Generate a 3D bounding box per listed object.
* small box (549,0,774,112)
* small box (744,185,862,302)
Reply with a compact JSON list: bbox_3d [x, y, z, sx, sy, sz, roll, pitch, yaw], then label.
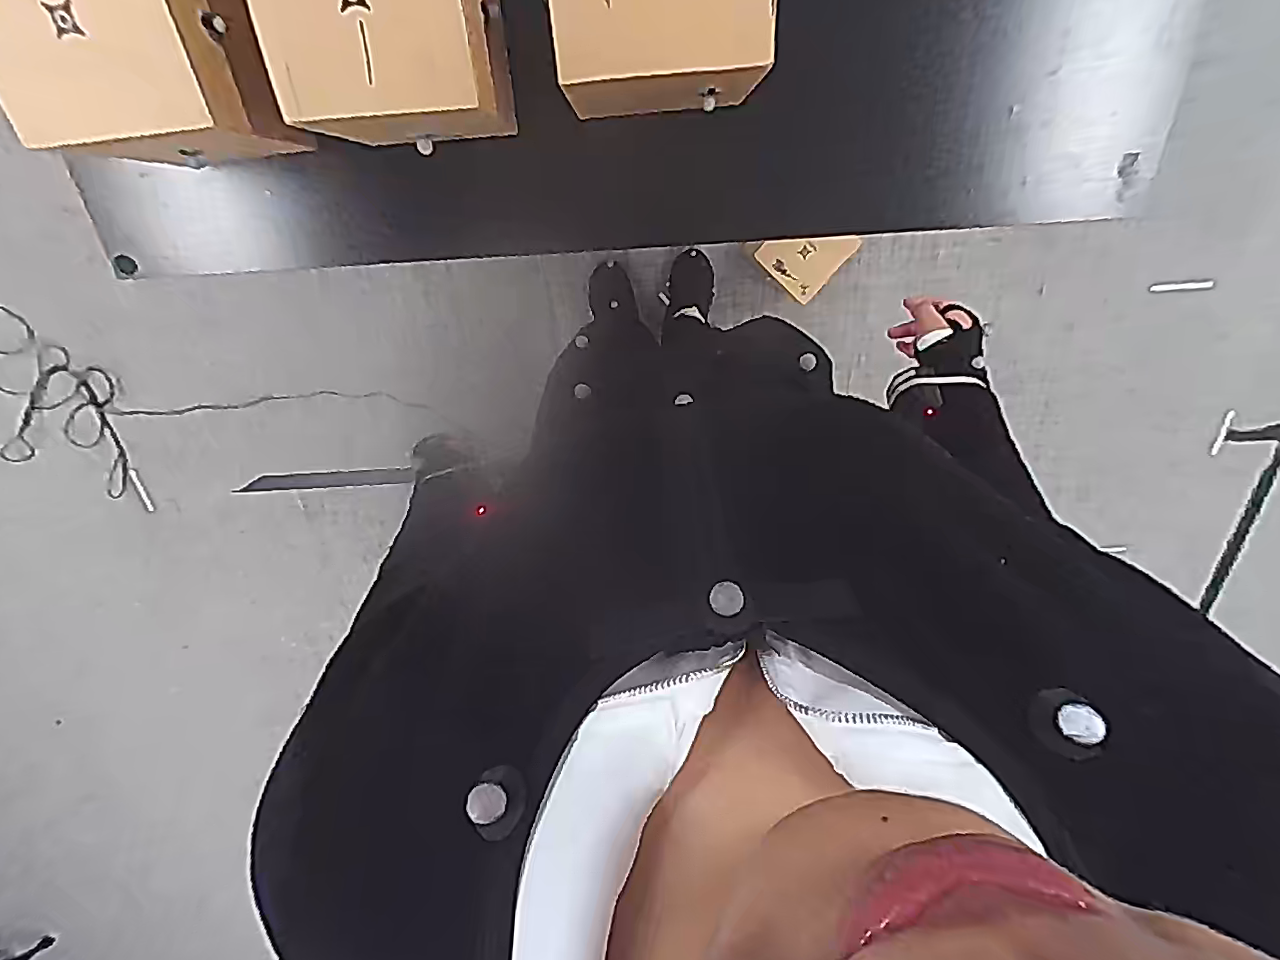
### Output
[{"bbox_3d":[0.014,-0.436,0.470,0.179,0.176,0.168,-4,116,2],"label":"small box"},{"bbox_3d":[0.360,-0.539,1.234,0.168,0.176,0.179,37,111,-17],"label":"small box"}]
